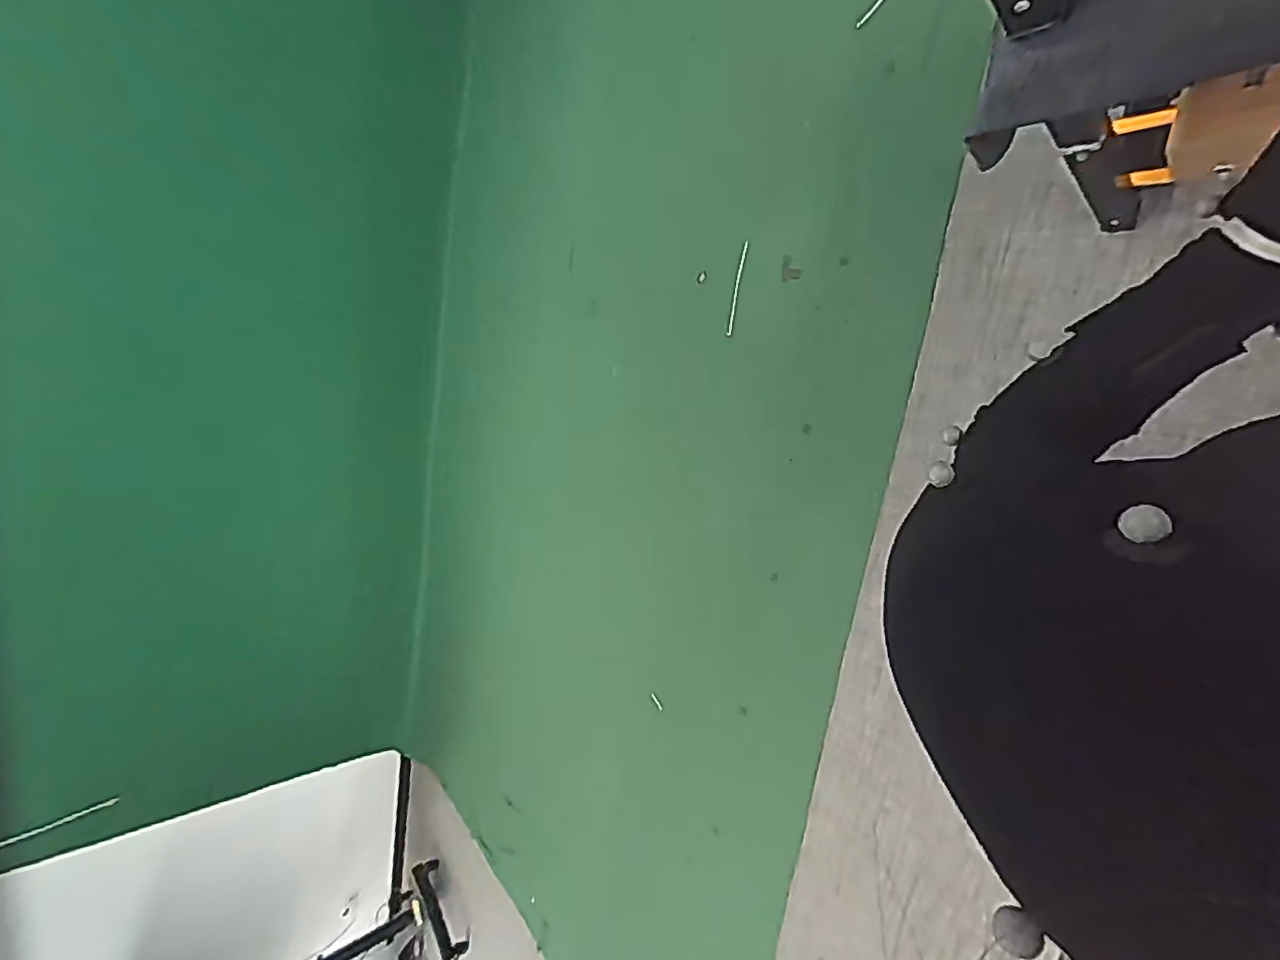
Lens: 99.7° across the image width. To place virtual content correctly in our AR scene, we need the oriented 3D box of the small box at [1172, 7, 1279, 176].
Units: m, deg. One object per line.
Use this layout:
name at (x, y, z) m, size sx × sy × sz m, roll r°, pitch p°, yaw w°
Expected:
small box at (1.007, -0.628, 0.880) m, size 0.168 × 0.176 × 0.179 m, roll 18°, pitch 105°, yaw 46°
